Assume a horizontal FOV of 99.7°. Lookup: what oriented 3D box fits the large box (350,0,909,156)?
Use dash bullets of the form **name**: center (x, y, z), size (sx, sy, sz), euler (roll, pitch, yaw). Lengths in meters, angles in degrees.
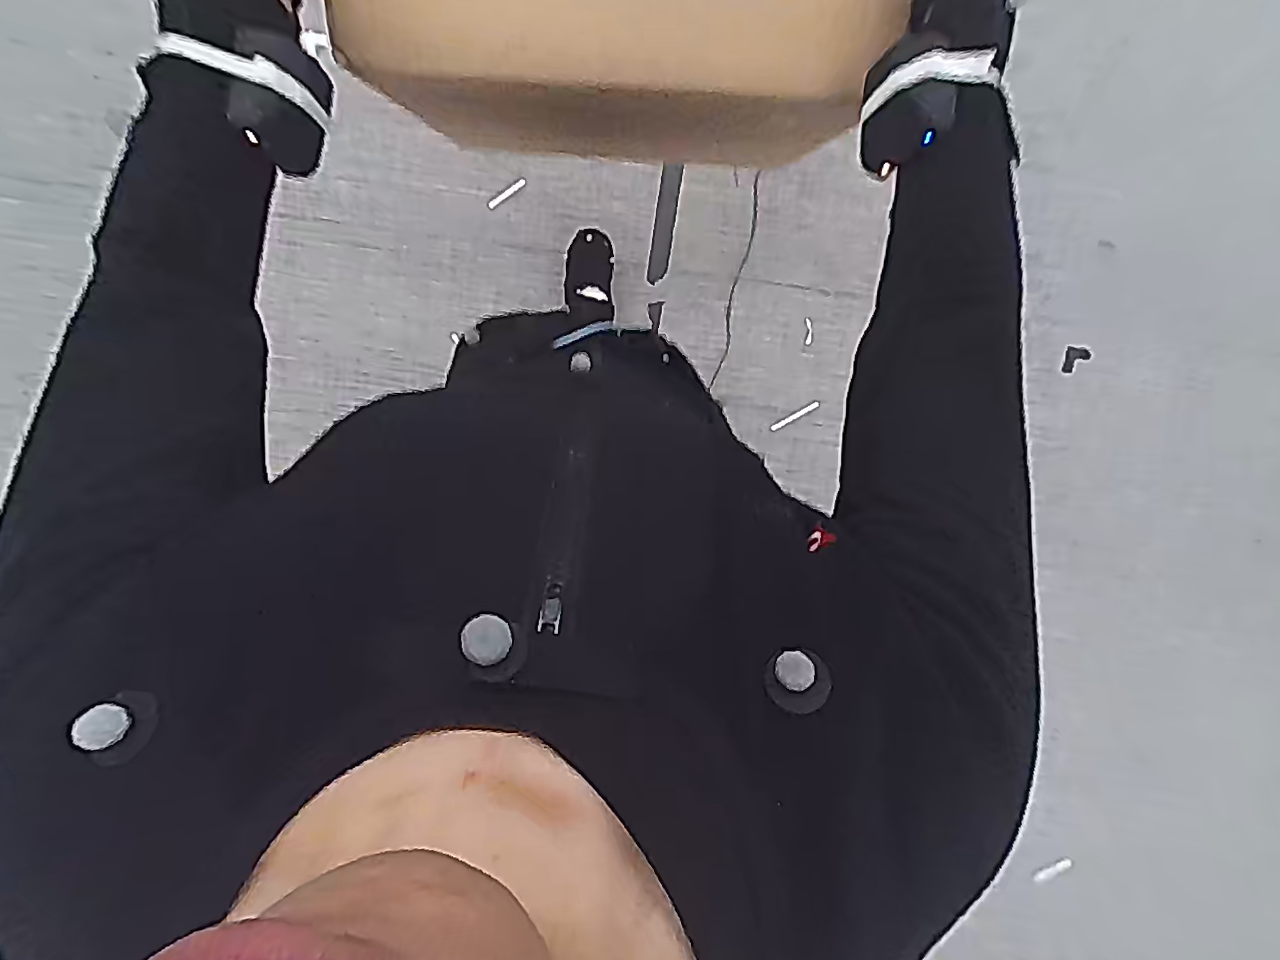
- **large box**: center (-0.008, -0.496, 0.478), size (0.408, 0.320, 0.320), euler (1, 113, -3)
